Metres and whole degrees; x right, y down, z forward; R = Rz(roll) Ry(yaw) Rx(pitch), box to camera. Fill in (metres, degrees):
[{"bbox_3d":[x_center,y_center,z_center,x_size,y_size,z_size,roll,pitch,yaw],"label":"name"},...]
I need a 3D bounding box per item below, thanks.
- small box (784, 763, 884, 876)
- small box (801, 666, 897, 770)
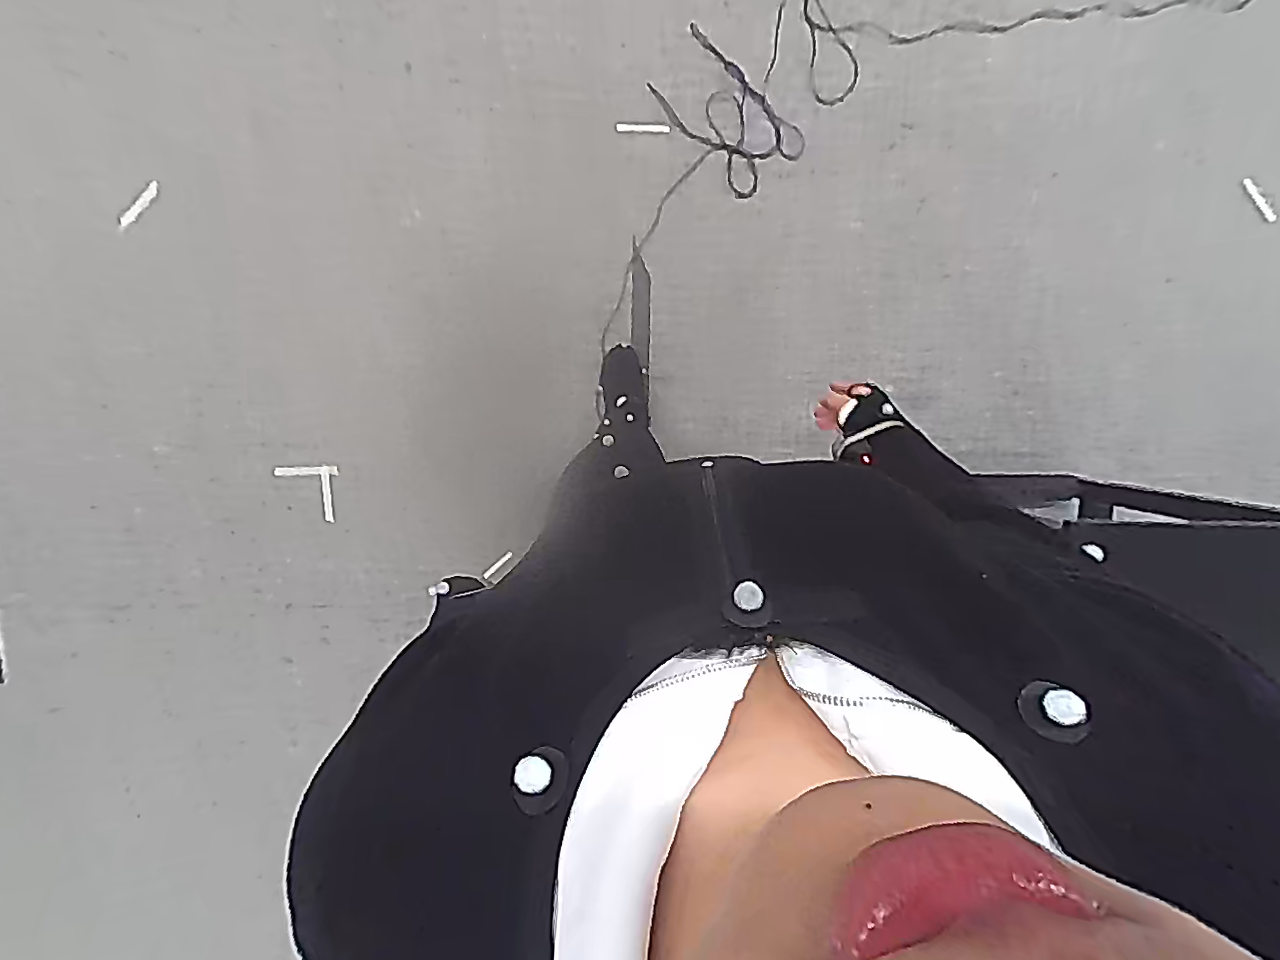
[{"bbox_3d":[0.541,0.951,1.529,0.179,0.176,0.168,44,95,-5],"label":"small box"},{"bbox_3d":[0.566,0.650,1.495,0.168,0.176,0.179,21,96,-3],"label":"small box"}]
